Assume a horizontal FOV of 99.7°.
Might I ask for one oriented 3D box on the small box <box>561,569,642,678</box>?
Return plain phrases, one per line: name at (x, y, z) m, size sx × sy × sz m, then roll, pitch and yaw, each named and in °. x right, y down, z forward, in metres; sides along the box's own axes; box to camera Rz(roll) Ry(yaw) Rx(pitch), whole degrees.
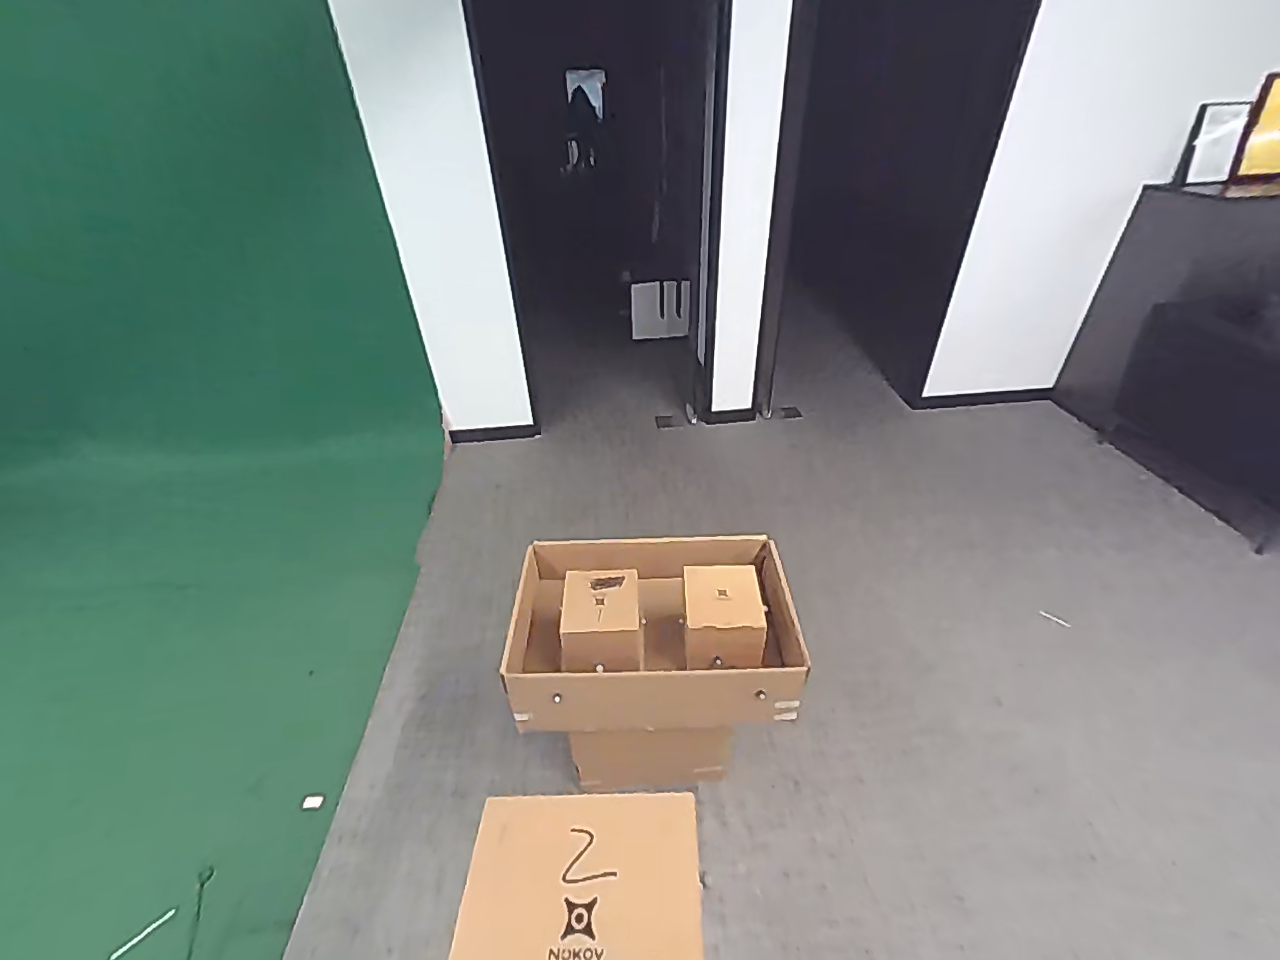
small box at (-0.081, 0.323, 1.223) m, size 0.168 × 0.176 × 0.179 m, roll -3°, pitch 37°, yaw 0°
